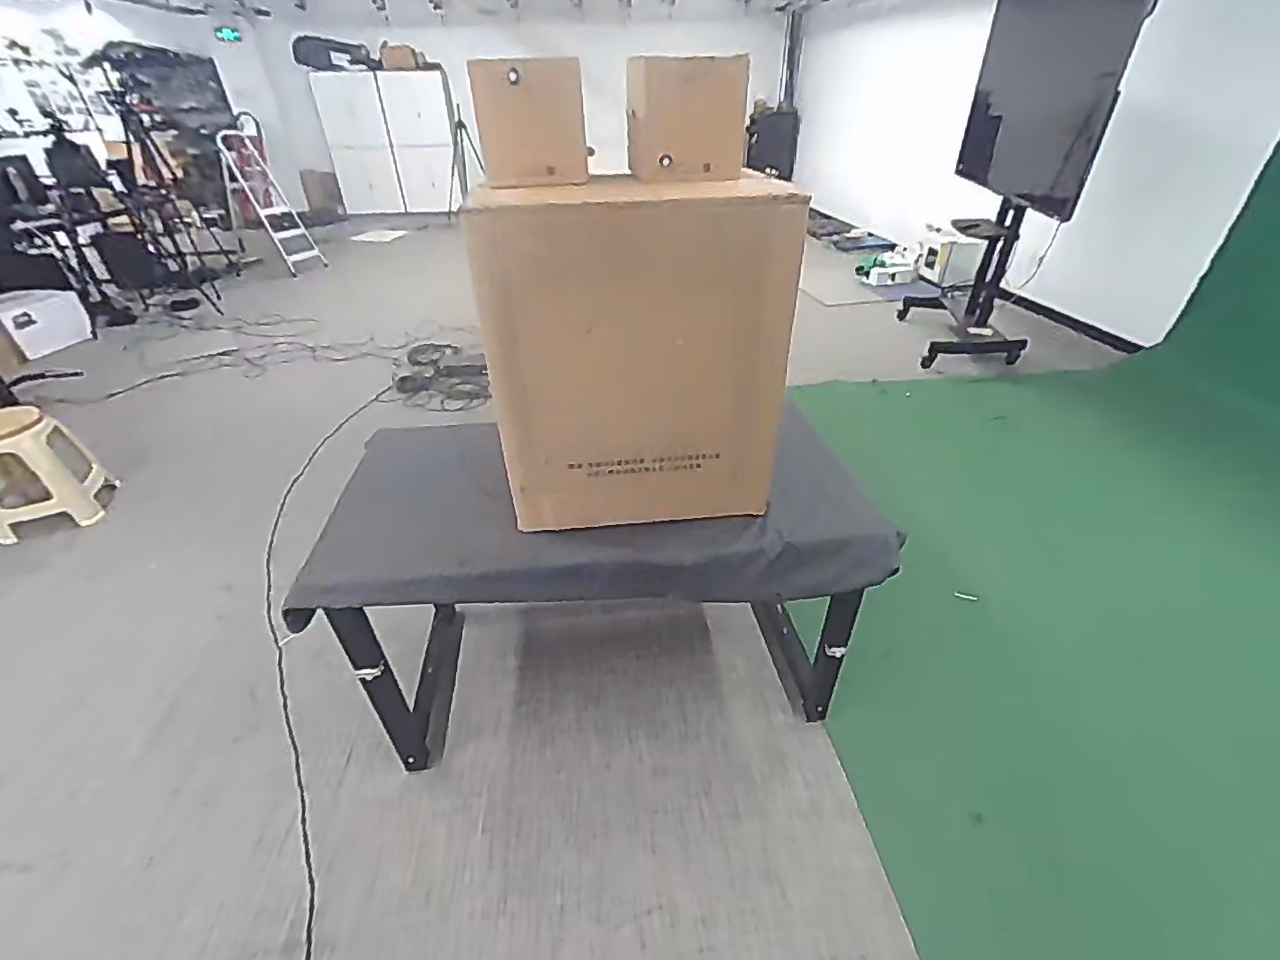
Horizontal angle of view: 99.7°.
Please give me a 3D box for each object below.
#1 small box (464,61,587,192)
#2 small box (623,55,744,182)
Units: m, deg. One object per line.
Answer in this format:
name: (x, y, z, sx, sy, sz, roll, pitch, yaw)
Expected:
small box: (-0.180, -0.584, 0.900, 0.168, 0.176, 0.179, -7, 36, -4)
small box: (0.068, -0.610, 0.919, 0.168, 0.176, 0.179, -8, 36, -8)
